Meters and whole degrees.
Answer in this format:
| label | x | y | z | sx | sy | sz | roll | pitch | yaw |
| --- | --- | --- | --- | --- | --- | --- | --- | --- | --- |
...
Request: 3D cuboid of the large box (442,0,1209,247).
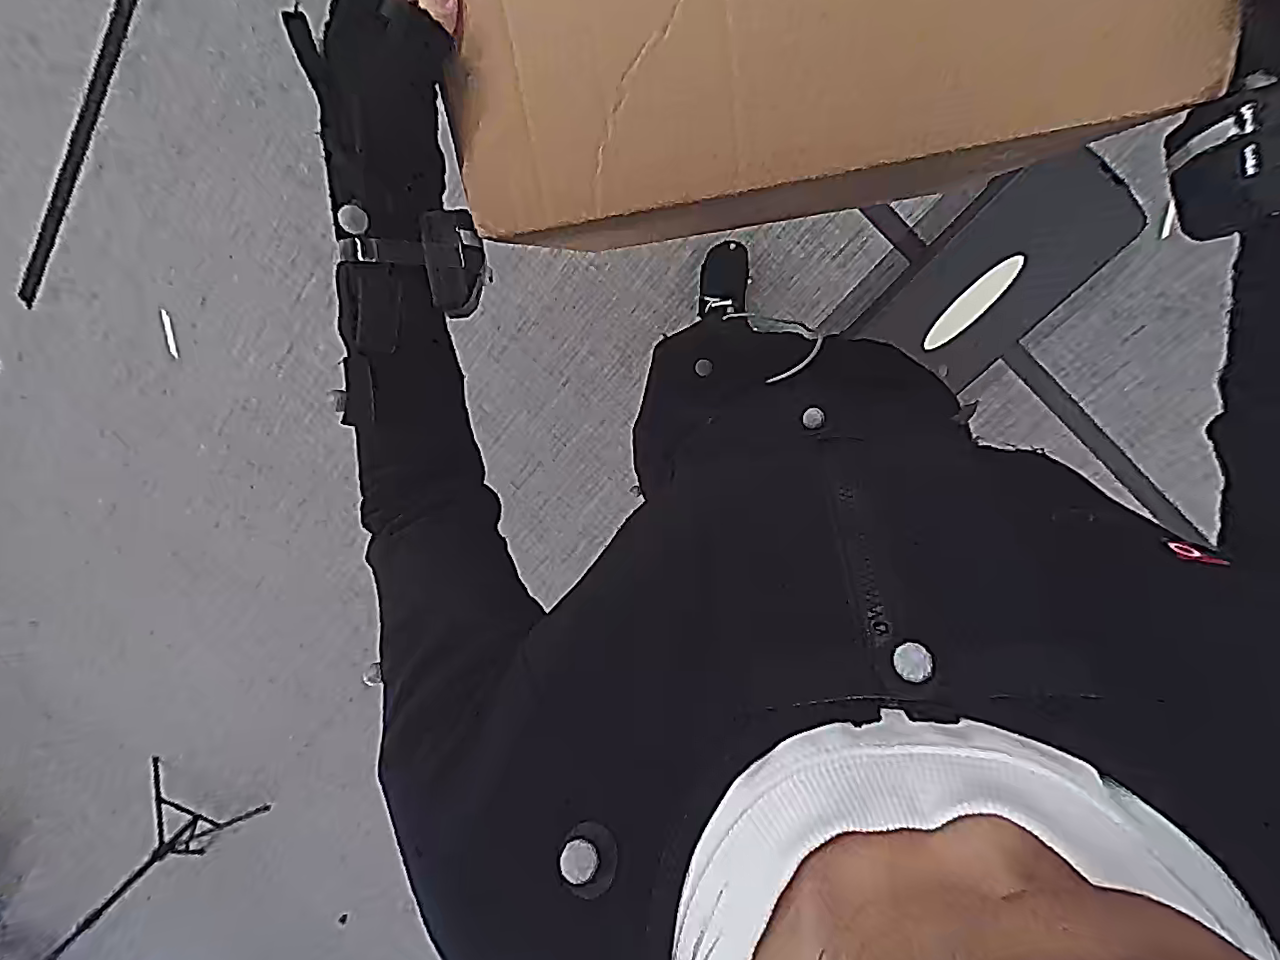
| label | x | y | z | sx | sy | sz | roll | pitch | yaw |
| --- | --- | --- | --- | --- | --- | --- | --- | --- | --- |
| large box | 0.090 | -0.381 | 0.406 | 0.408 | 0.320 | 0.320 | -6 | 111 | 10 |
